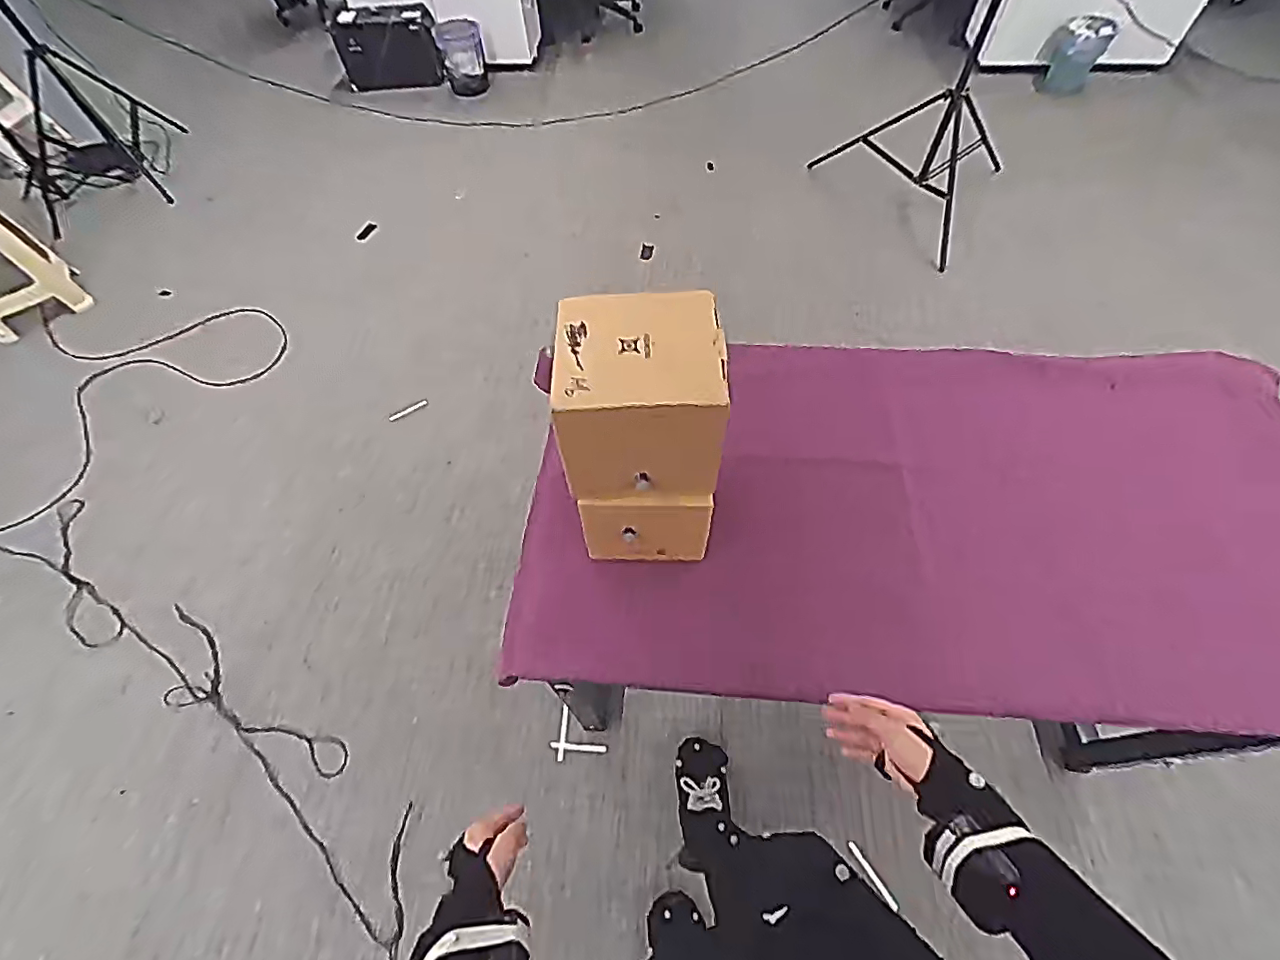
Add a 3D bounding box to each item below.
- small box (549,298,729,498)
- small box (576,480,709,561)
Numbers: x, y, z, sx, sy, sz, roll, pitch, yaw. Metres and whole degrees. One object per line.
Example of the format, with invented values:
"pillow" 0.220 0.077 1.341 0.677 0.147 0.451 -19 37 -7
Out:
"small box" -0.001 -0.089 0.628 0.179 0.176 0.168 -1 57 0
"small box" 0.008 0.005 0.763 0.168 0.176 0.179 0 57 2
